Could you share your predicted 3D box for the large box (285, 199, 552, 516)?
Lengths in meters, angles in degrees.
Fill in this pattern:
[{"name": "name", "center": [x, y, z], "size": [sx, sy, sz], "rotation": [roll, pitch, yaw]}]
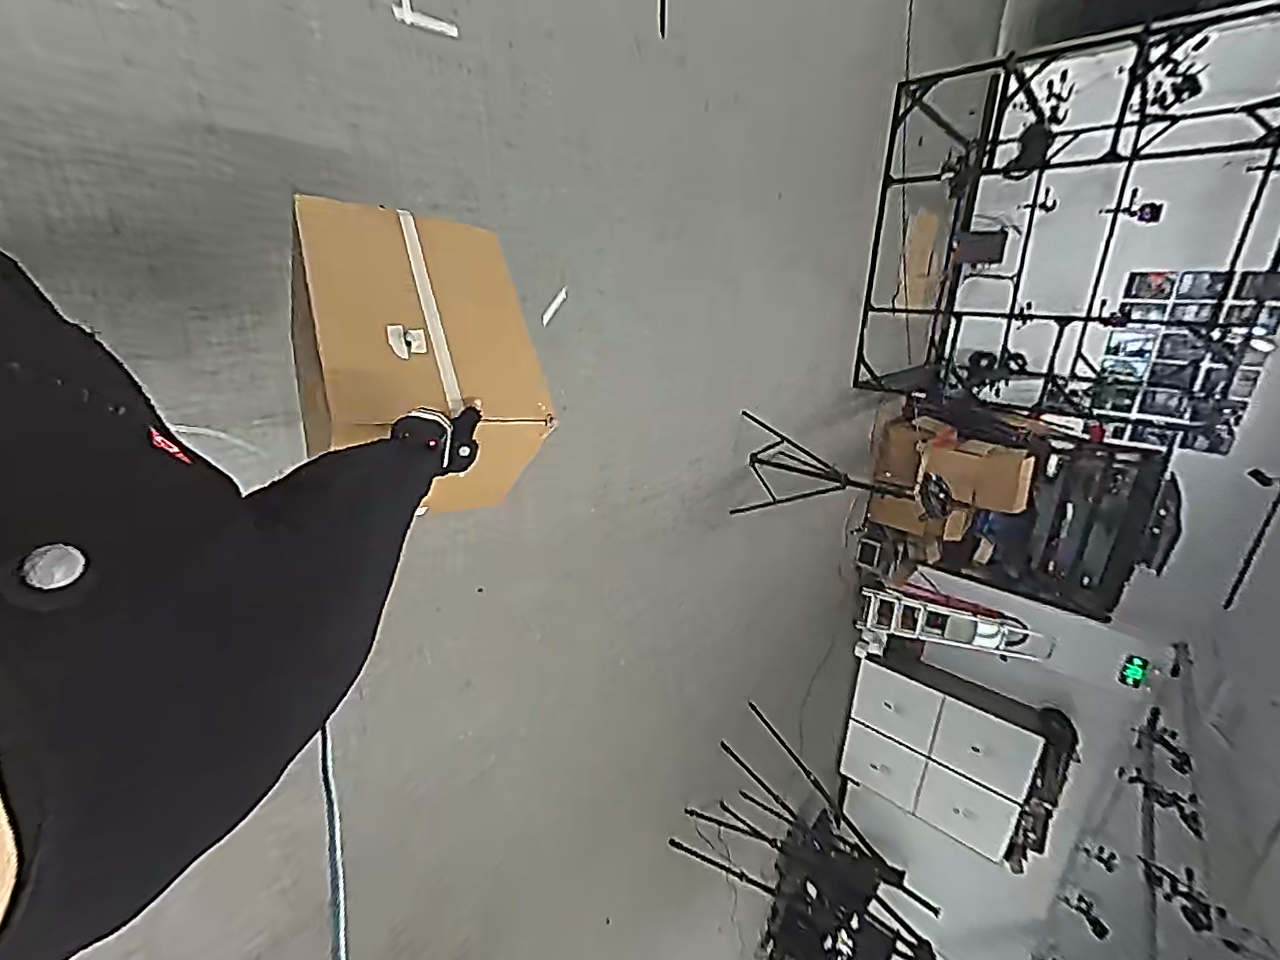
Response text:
[{"name": "large box", "center": [-0.406, -0.193, 0.944], "size": [0.320, 0.320, 0.408], "rotation": [-7, 68, -37]}]
